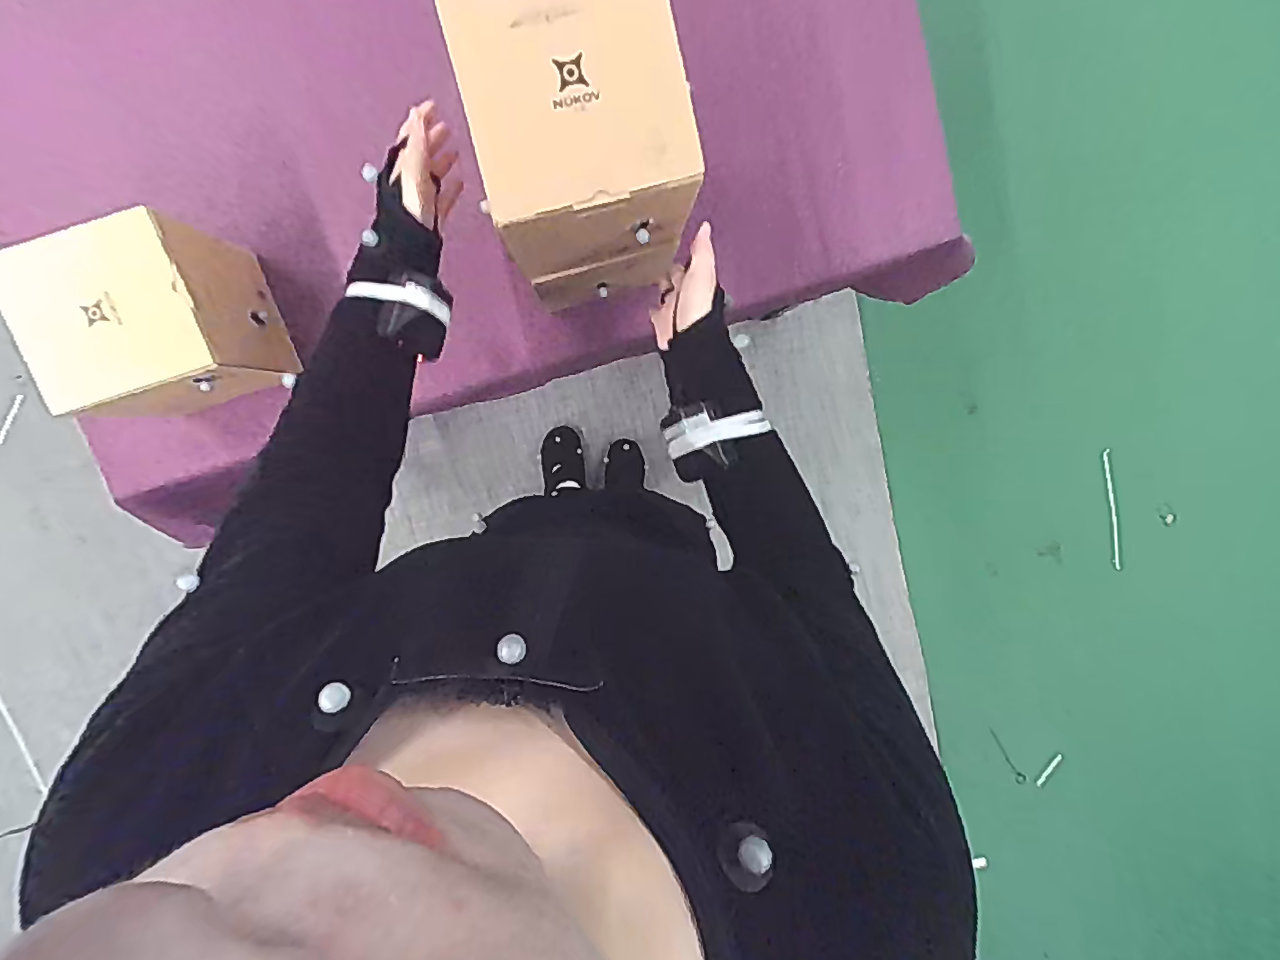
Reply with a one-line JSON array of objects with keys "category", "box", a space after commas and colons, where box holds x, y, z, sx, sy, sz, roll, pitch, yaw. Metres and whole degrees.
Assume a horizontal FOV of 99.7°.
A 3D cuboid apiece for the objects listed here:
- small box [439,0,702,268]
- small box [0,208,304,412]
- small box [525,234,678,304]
[{"category": "small box", "box": [-0.052, -0.302, 0.476, 0.168, 0.176, 0.179, -14, 97, -2]}, {"category": "small box", "box": [-0.545, -0.180, 0.631, 0.179, 0.176, 0.168, -19, 97, -2]}, {"category": "small box", "box": [-0.061, -0.318, 0.639, 0.168, 0.176, 0.179, -16, 97, -1]}]
